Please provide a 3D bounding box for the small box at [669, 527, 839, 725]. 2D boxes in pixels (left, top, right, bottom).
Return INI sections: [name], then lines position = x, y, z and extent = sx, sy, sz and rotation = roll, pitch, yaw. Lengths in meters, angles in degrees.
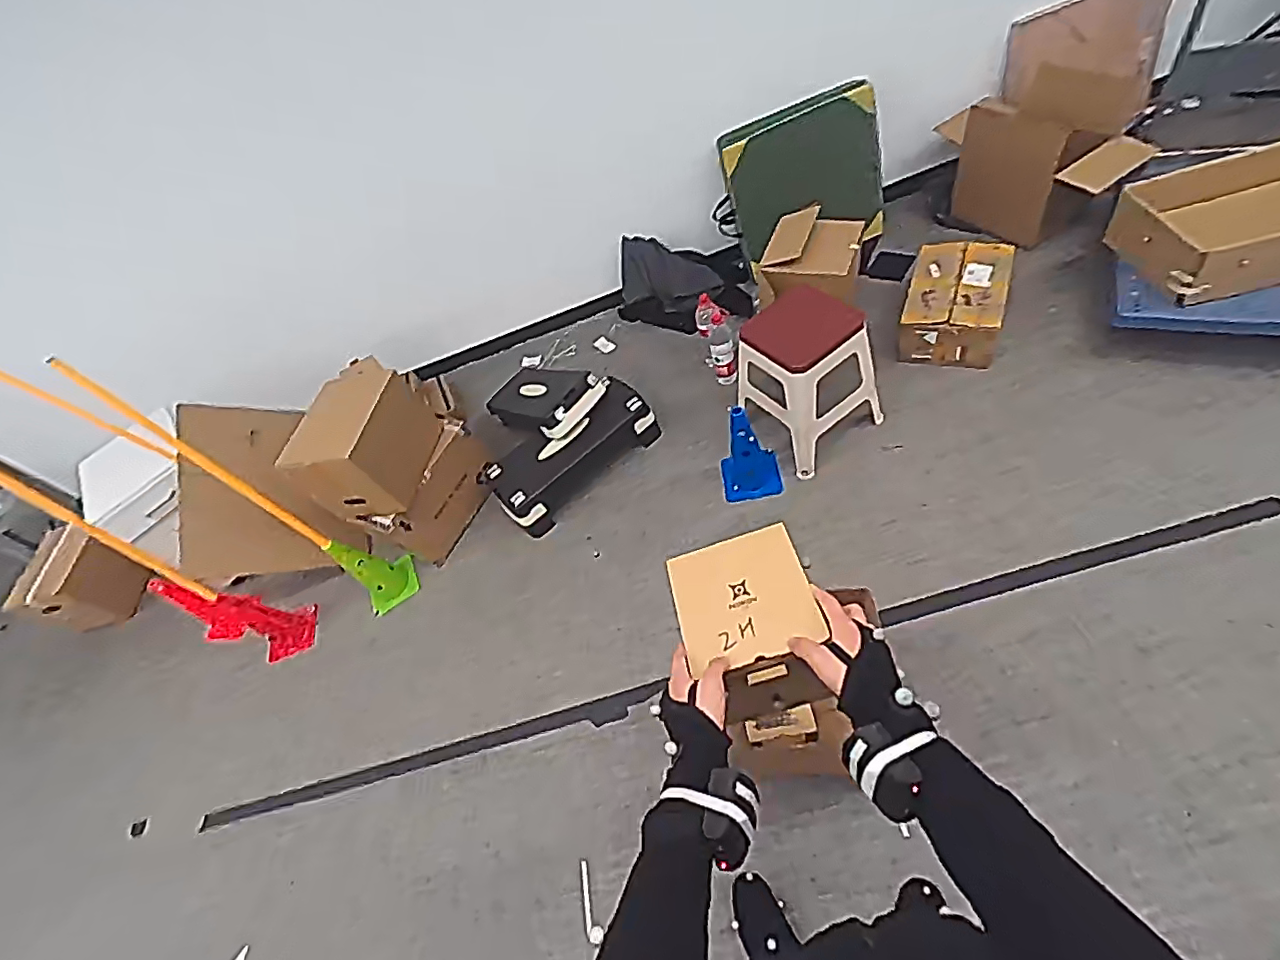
[small box]
position = 0.151, 0.197, 0.722
extent = 0.168, 0.176, 0.179
rotation = -20, 45, 9
